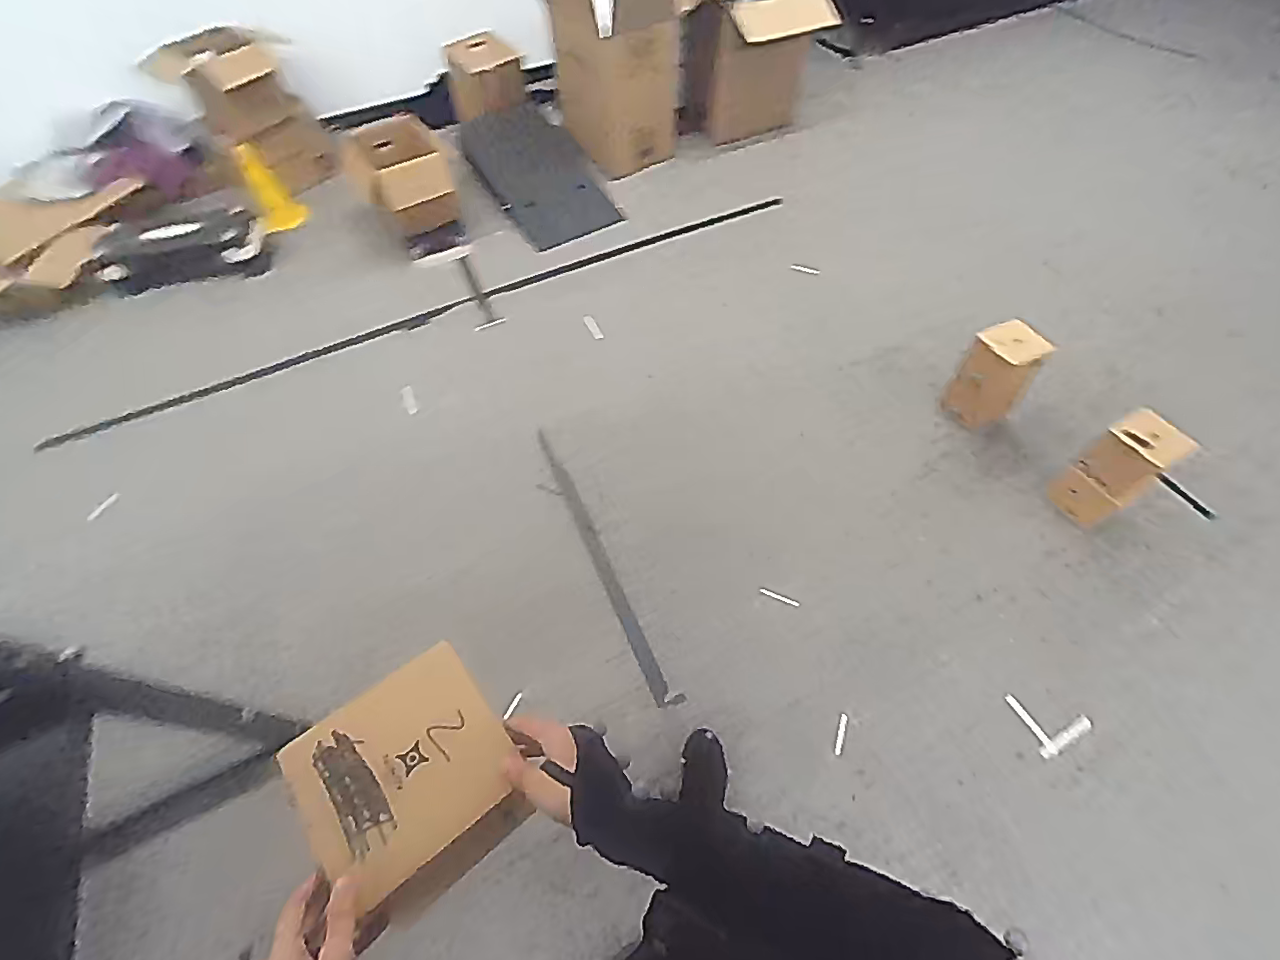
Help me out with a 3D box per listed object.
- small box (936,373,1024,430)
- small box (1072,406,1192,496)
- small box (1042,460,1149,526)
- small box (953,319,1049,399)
[{"bbox_3d":[1.216,-0.310,1.951,0.179,0.176,0.168,-21,58,-11],"label":"small box"},{"bbox_3d":[1.435,-0.081,1.597,0.179,0.176,0.168,-25,59,-15],"label":"small box"},{"bbox_3d":[1.440,0.020,1.728,0.179,0.176,0.168,-25,59,-14],"label":"small box"},{"bbox_3d":[1.203,-0.404,1.817,0.179,0.176,0.168,-22,58,-11],"label":"small box"}]
